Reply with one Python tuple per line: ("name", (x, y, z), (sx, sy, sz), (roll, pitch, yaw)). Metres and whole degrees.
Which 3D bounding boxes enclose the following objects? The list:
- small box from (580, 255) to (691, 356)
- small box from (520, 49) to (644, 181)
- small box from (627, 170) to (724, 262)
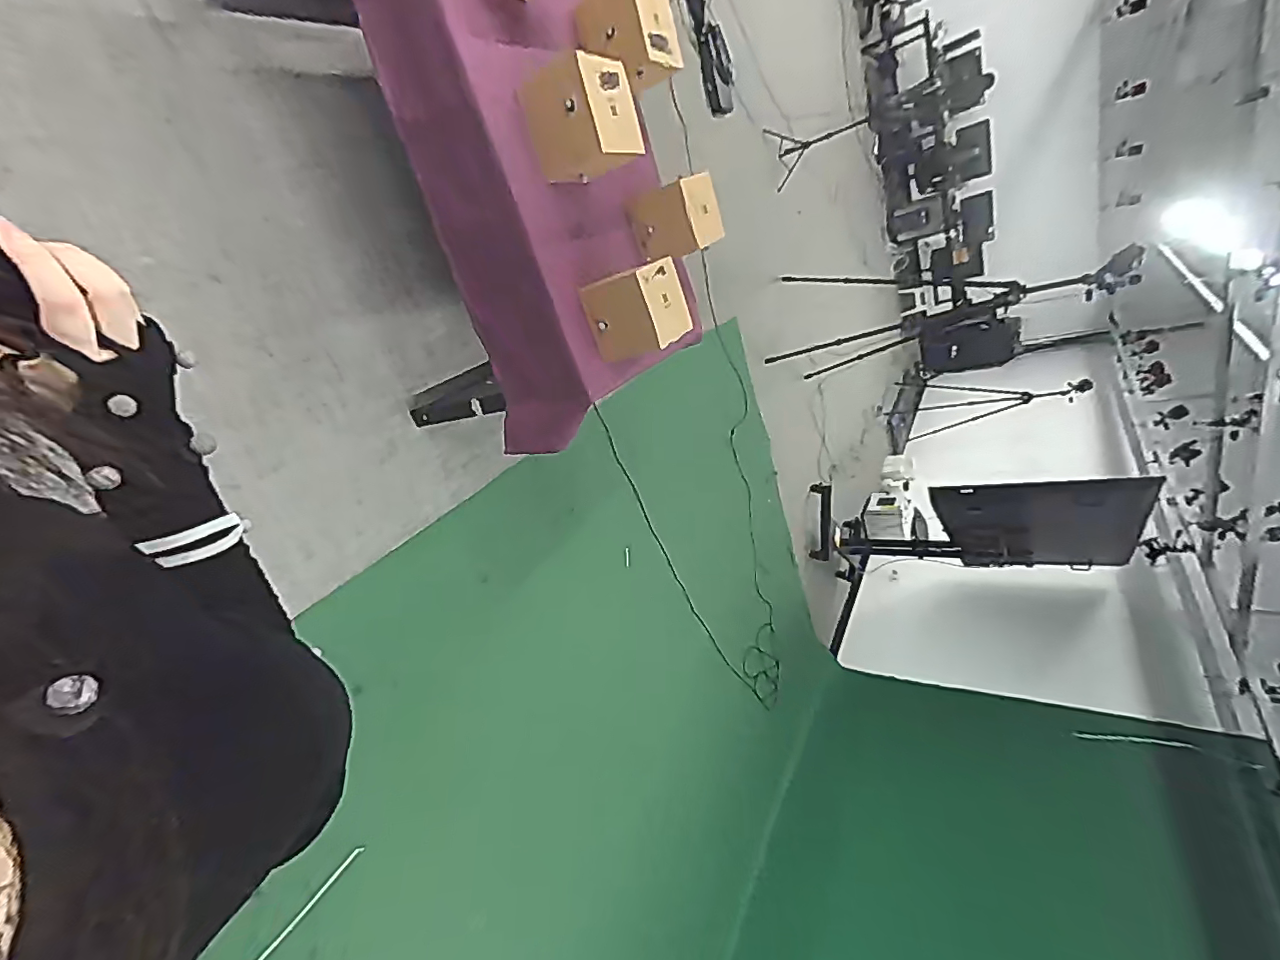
("small box", (-0.009, -0.400, 1.262), (0.168, 0.176, 0.179), (-46, 123, -46))
("small box", (-0.122, -0.751, 1.134), (0.168, 0.176, 0.179), (-40, 120, -47))
("small box", (0.095, -0.689, 1.421), (0.179, 0.176, 0.168), (-47, 123, -44))
